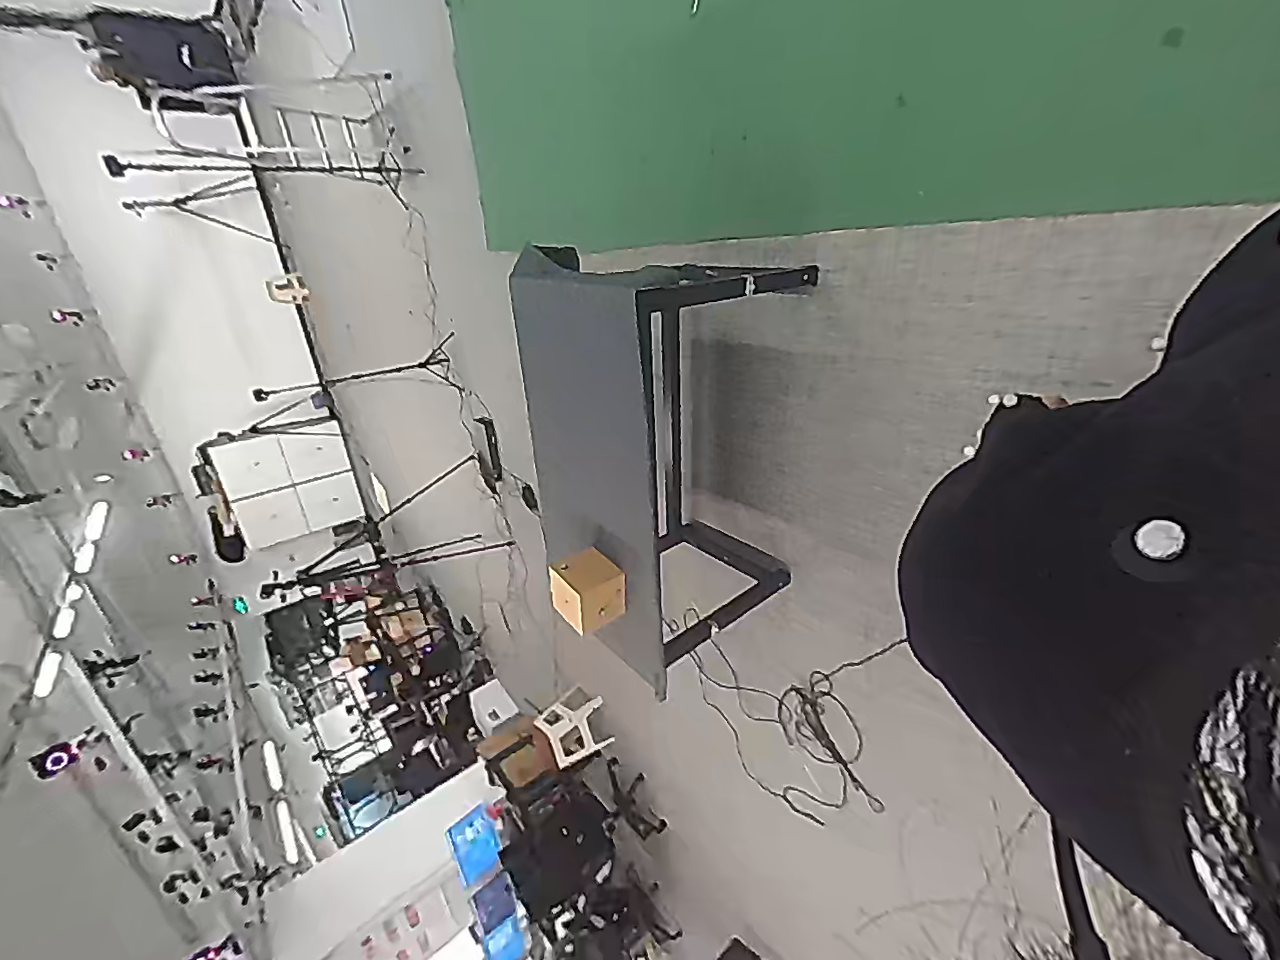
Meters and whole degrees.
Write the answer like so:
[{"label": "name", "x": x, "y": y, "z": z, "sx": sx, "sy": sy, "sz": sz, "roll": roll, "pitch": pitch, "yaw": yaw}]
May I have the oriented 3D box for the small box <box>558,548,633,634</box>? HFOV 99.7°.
[{"label": "small box", "x": -0.134, "y": 0.338, "z": 1.683, "sx": 0.179, "sy": 0.176, "sz": 0.168, "roll": 32, "pitch": 132, "yaw": 44}]
